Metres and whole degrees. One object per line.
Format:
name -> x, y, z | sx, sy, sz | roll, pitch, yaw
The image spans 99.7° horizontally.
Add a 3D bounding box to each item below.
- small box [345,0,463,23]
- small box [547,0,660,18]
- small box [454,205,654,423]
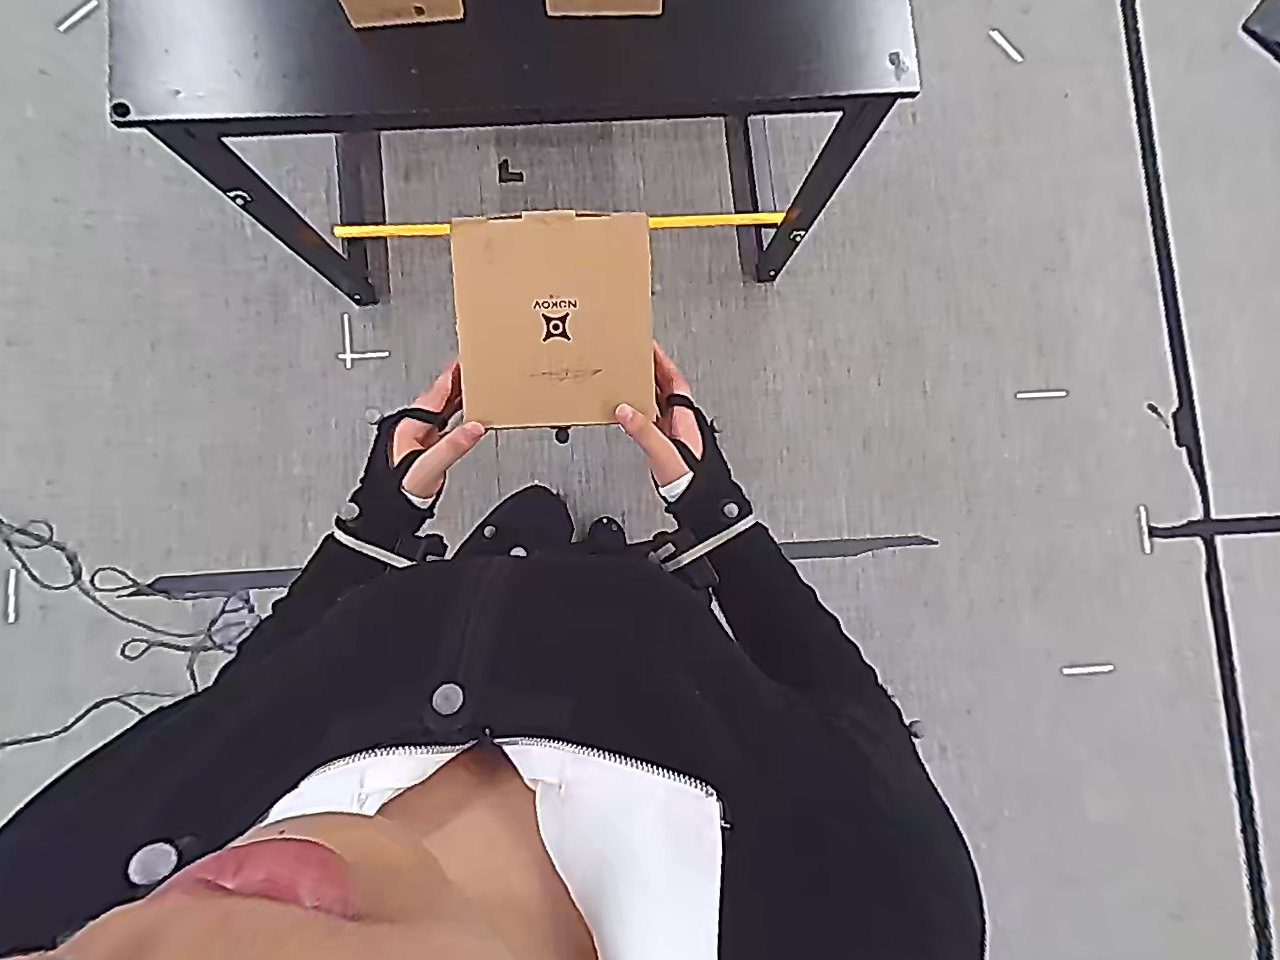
small box -> -0.354, -0.776, 0.744 | 0.168, 0.176, 0.179 | -8, 87, -3
small box -> -0.056, -0.799, 0.760 | 0.179, 0.176, 0.168 | -3, 86, -4
small box -> -0.076, -0.150, 0.540 | 0.168, 0.176, 0.179 | -3, 95, -2
